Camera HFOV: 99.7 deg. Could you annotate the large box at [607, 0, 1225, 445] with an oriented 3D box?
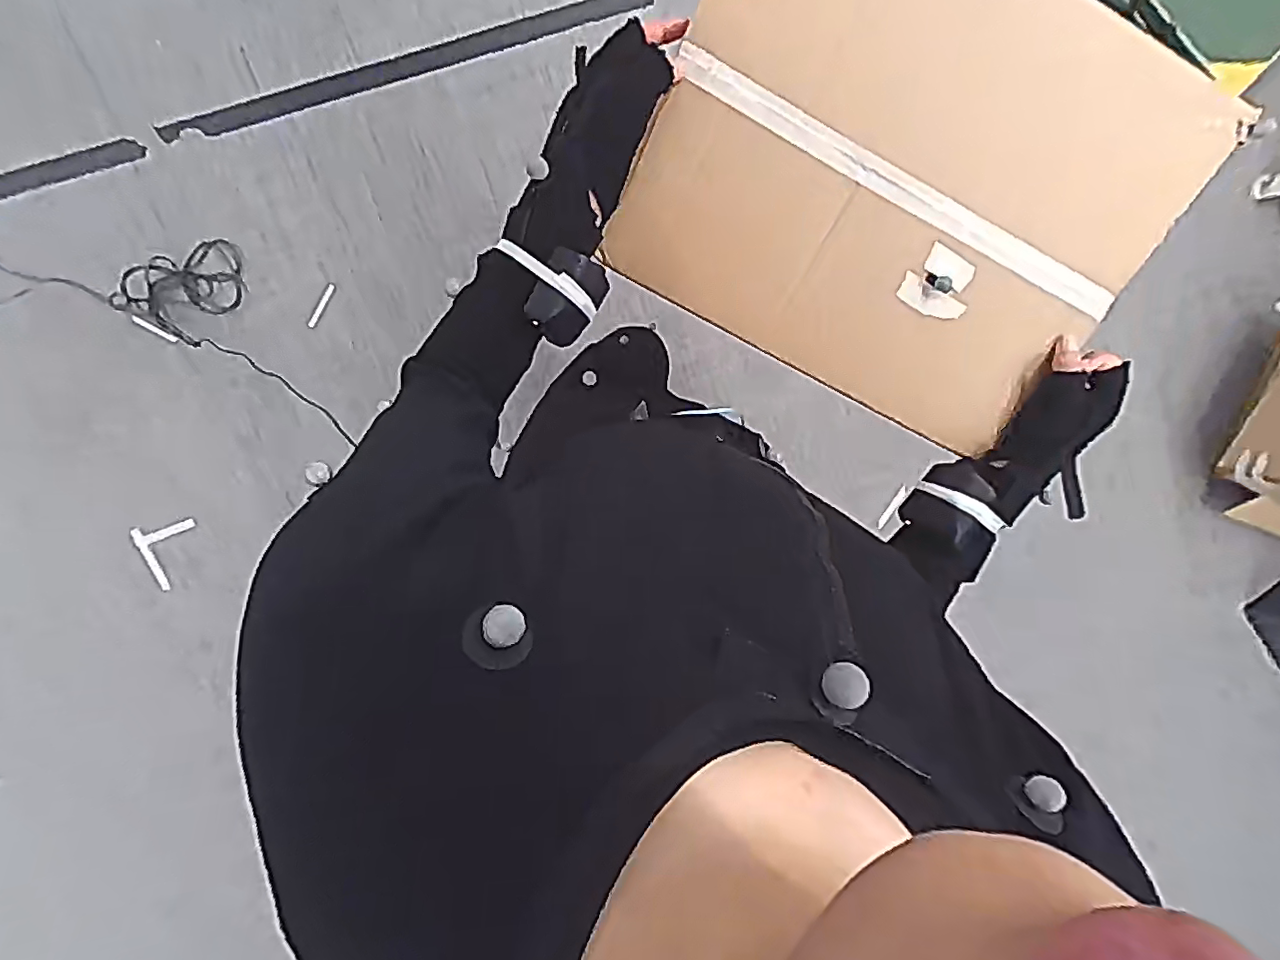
[{"bbox_3d":[0.215,-0.294,0.581,0.408,0.320,0.320,26,111,-8],"label":"large box"}]
